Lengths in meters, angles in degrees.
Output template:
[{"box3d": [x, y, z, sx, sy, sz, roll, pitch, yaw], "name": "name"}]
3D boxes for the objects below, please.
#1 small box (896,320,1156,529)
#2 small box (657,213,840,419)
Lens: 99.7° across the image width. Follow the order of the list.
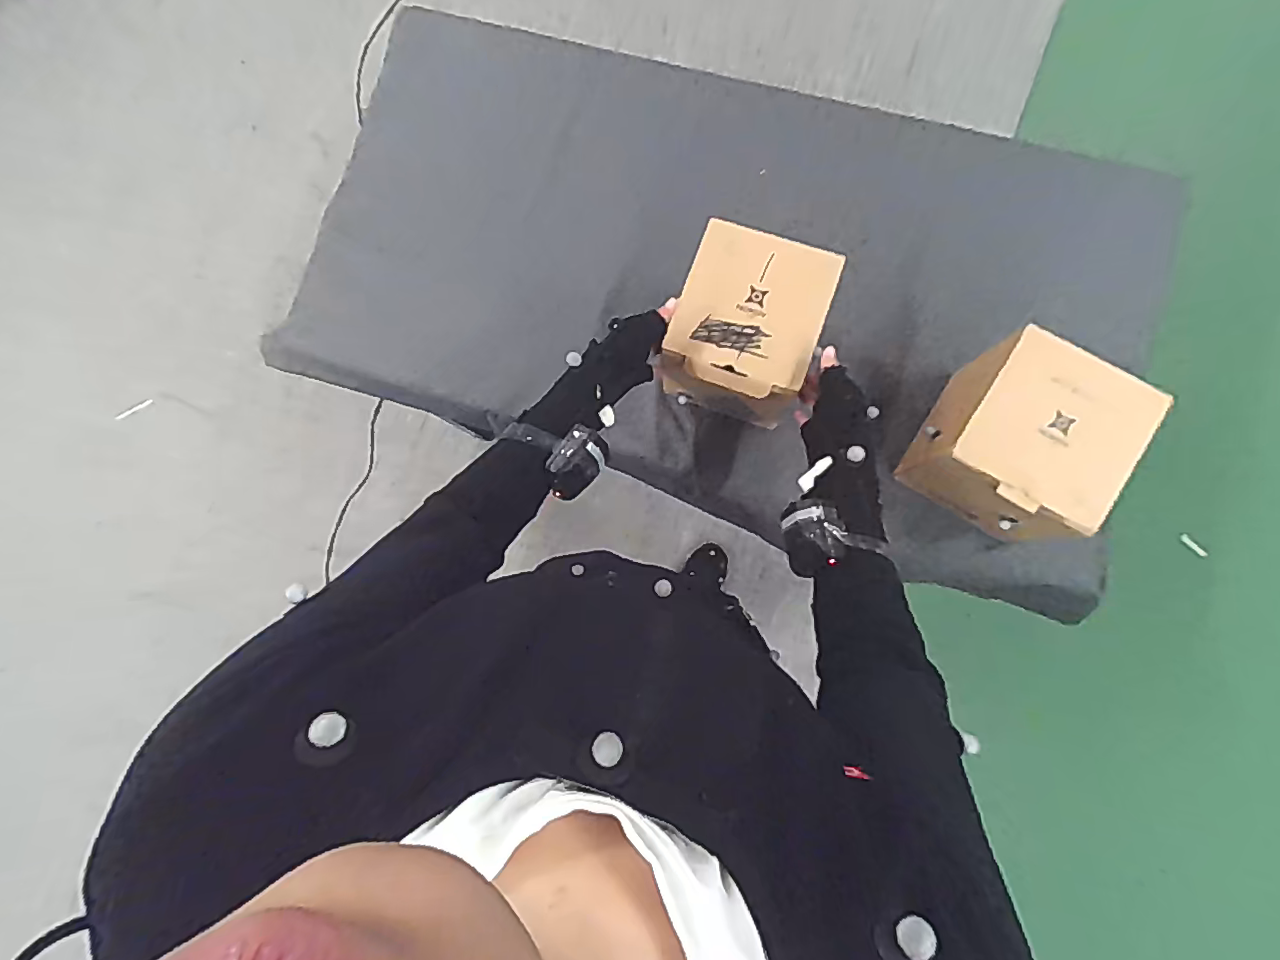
[{"box3d": [0.444, -0.053, 0.659, 0.168, 0.176, 0.179, 32, 85, 6], "name": "small box"}, {"box3d": [0.131, -0.197, 0.698, 0.168, 0.176, 0.179, 20, 84, 6], "name": "small box"}]
